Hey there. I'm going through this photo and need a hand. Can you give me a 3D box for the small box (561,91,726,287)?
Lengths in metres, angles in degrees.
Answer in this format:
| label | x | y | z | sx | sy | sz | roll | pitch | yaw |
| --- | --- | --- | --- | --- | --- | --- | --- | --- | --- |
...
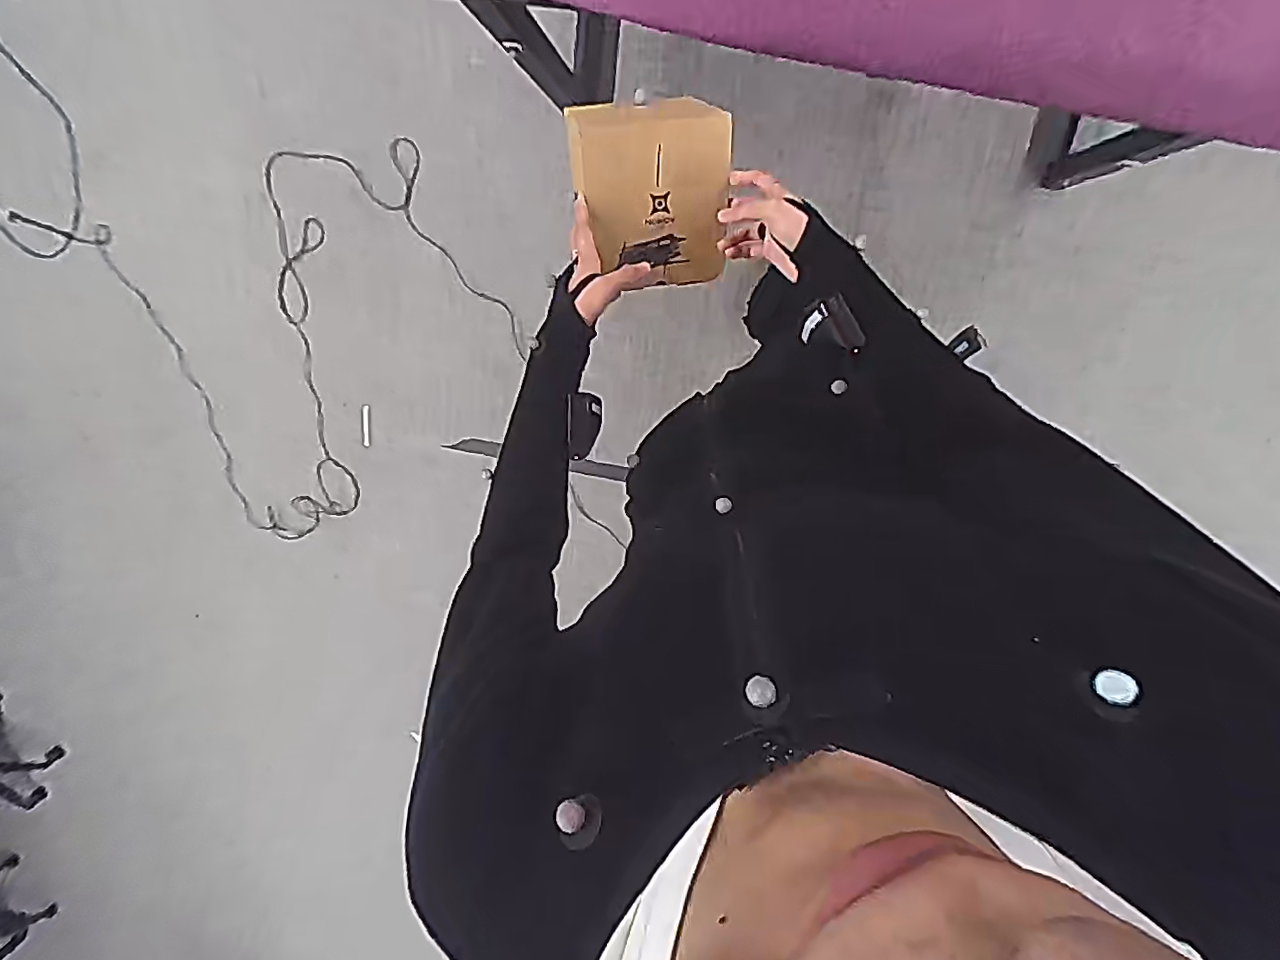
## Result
| label | x | y | z | sx | sy | sz | roll | pitch | yaw |
| --- | --- | --- | --- | --- | --- | --- | --- | --- | --- |
| small box | -0.001 | -0.363 | 0.670 | 0.168 | 0.176 | 0.179 | -10 | 131 | -7 |
